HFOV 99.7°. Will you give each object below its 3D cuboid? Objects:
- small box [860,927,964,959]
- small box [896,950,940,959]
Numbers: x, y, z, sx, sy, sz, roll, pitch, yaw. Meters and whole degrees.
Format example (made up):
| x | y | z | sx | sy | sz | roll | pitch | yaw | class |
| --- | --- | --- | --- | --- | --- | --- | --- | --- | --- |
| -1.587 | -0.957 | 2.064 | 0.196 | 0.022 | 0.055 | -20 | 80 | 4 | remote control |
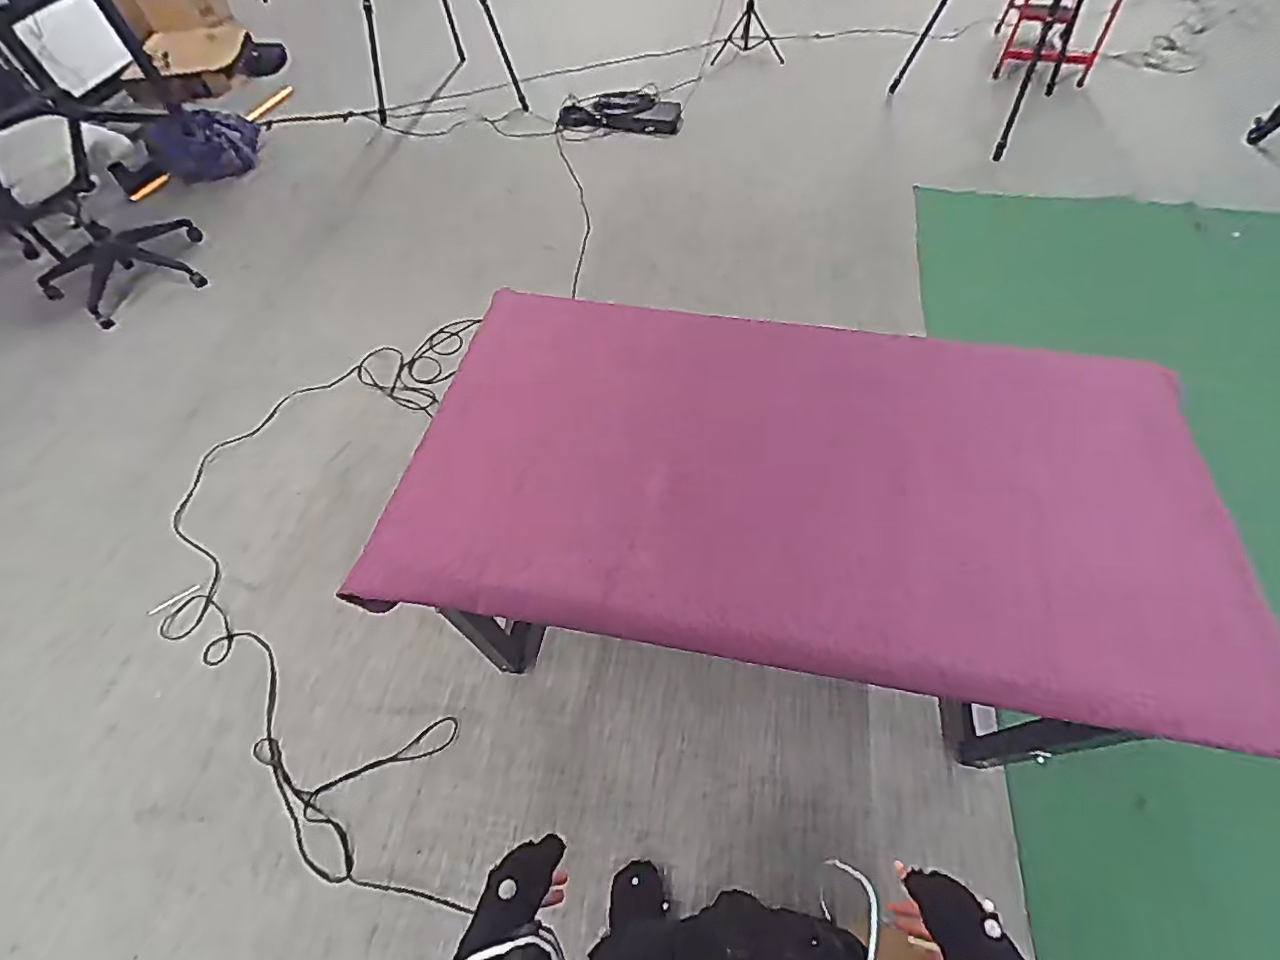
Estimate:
| x | y | z | sx | sy | sz | roll | pitch | yaw | class |
| --- | --- | --- | --- | --- | --- | --- | --- | --- | --- |
| 0.460 | 0.860 | 0.868 | 0.168 | 0.176 | 0.179 | 12 | 57 | 9 | small box |
| 0.459 | 0.778 | 0.728 | 0.168 | 0.176 | 0.179 | 11 | 57 | 8 | small box |
